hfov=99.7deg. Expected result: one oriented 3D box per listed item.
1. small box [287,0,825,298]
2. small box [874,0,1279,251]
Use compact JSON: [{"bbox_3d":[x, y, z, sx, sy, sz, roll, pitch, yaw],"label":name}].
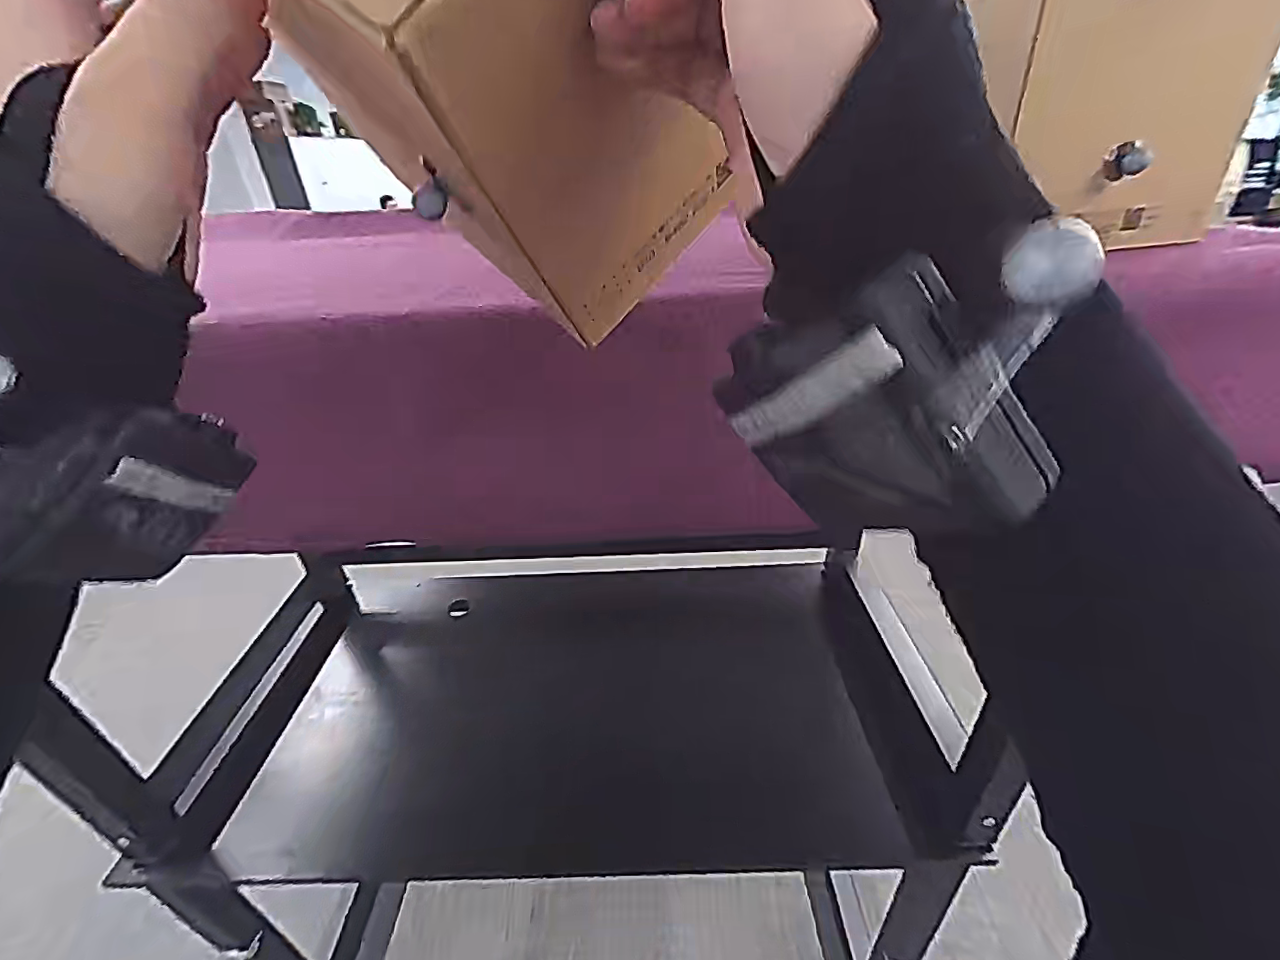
[{"bbox_3d":[-0.036,-0.206,0.224,0.168,0.176,0.179,-45,73,-1],"label":"small box"},{"bbox_3d":[0.301,-0.274,0.408,0.168,0.176,0.179,-7,30,-4],"label":"small box"}]
